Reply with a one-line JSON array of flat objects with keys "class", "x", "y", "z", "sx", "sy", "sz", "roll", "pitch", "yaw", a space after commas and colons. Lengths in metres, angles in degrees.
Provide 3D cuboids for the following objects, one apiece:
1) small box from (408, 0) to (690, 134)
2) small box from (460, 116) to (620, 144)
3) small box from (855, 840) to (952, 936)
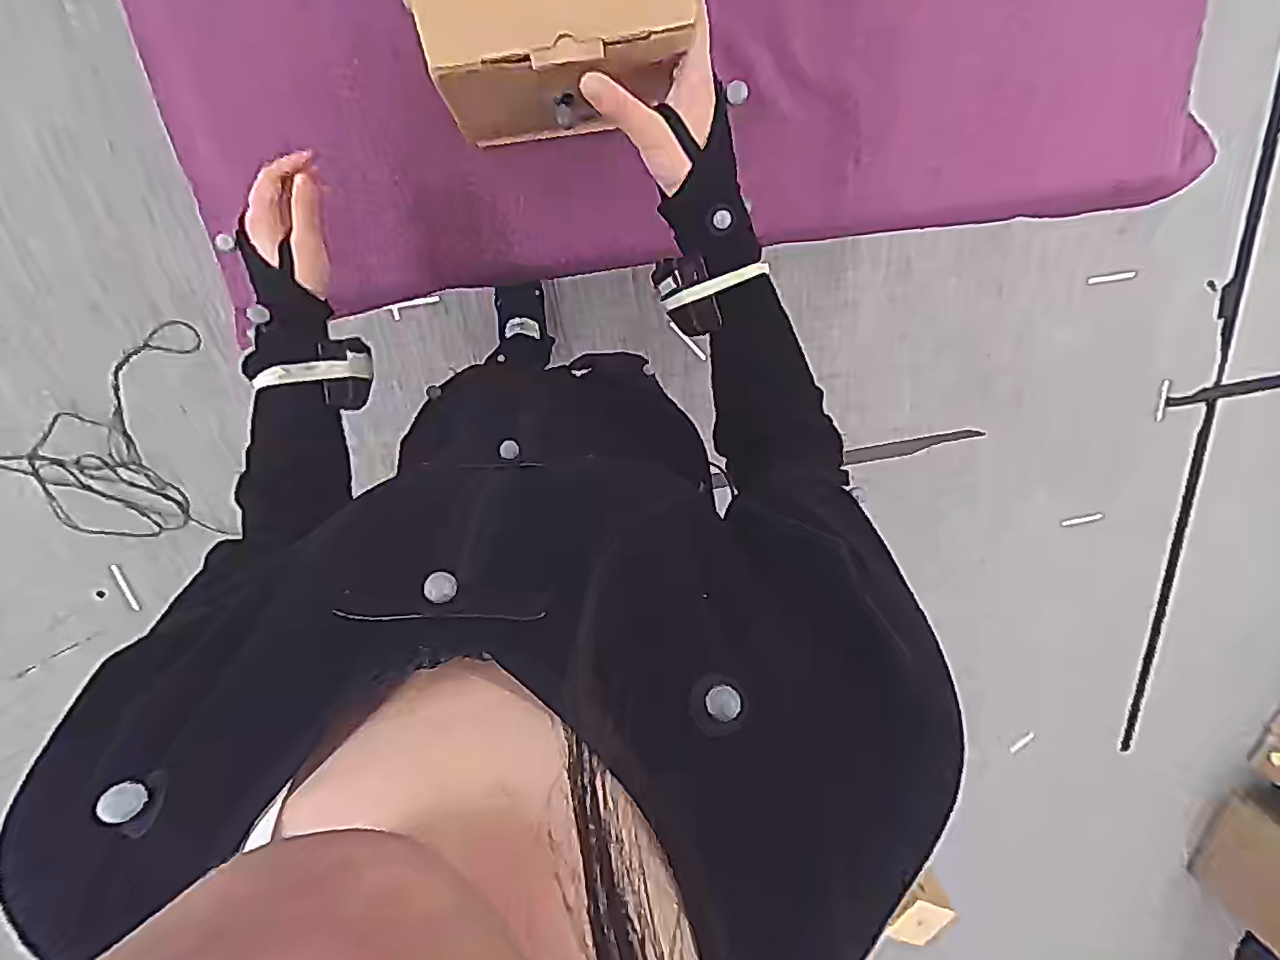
[{"class": "small box", "x": -0.072, "y": -0.359, "z": 0.371, "sx": 0.168, "sy": 0.176, "sz": 0.179, "roll": -13, "pitch": 112, "yaw": -4}, {"class": "small box", "x": -0.103, "y": -0.439, "z": 0.514, "sx": 0.168, "sy": 0.176, "sz": 0.179, "roll": -11, "pitch": 111, "yaw": -5}, {"class": "small box", "x": 0.821, "y": 1.280, "z": 1.704, "sx": 0.179, "sy": 0.176, "sz": 0.168, "roll": 30, "pitch": 105, "yaw": -18}]
